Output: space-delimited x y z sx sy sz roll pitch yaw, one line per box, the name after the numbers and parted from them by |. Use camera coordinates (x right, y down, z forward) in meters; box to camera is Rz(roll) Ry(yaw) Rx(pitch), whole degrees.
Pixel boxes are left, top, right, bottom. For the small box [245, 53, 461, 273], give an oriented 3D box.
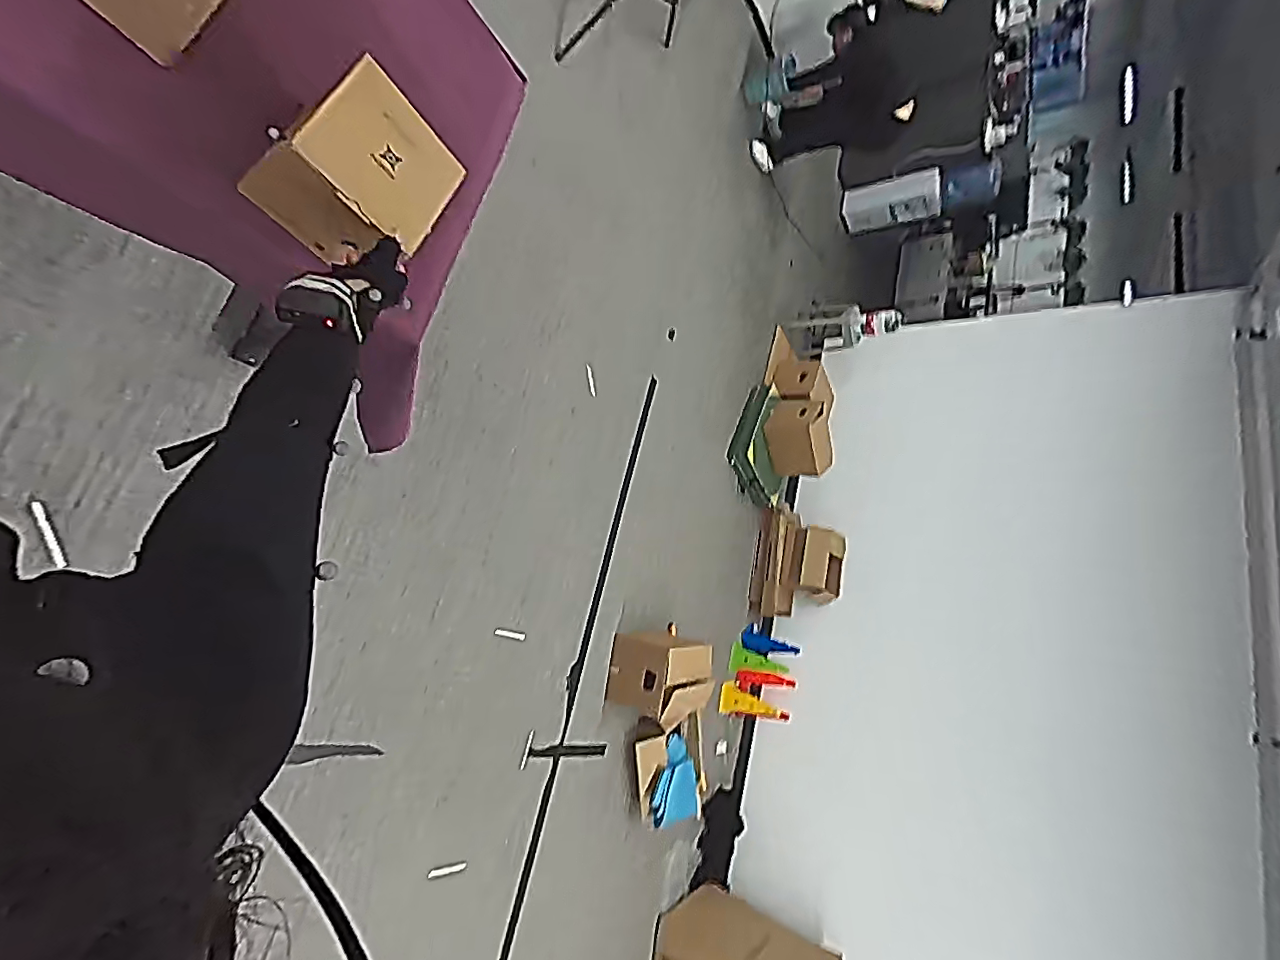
-0.384 -0.407 0.726 0.168 0.176 0.179 45 56 -47 | small box
